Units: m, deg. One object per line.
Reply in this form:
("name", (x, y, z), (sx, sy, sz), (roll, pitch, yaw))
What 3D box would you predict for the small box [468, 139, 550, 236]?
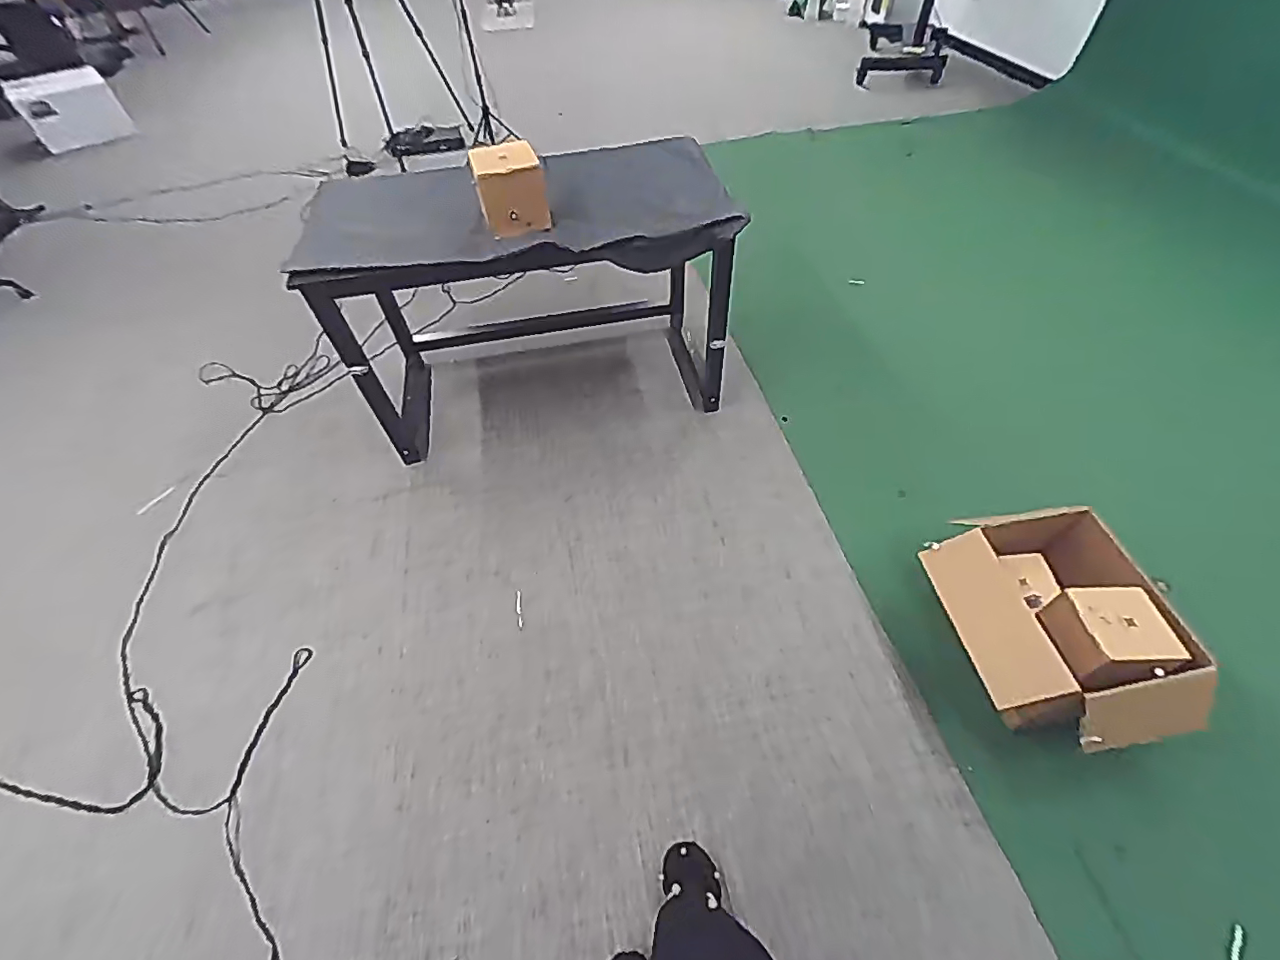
("small box", (-0.352, -0.788, 1.461), (0.168, 0.176, 0.179), (-17, 53, -10))
